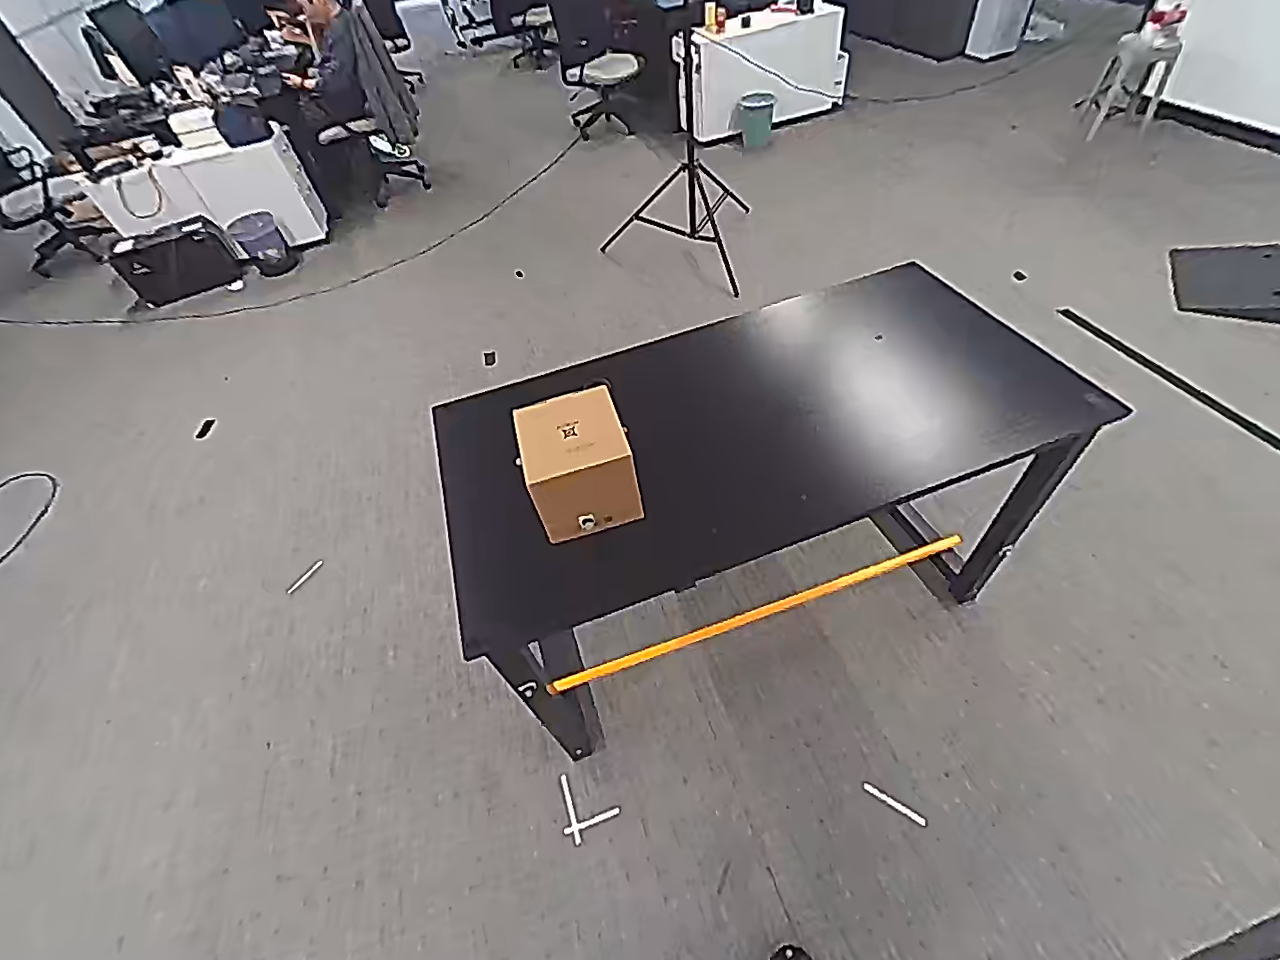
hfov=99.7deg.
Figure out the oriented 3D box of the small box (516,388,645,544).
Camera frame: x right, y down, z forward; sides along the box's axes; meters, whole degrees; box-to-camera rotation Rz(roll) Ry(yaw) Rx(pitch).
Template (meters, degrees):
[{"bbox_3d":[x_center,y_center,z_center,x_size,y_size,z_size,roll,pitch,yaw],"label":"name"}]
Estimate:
[{"bbox_3d":[-0.098,-0.022,0.916,0.168,0.176,0.179,-17,51,-5],"label":"small box"}]
